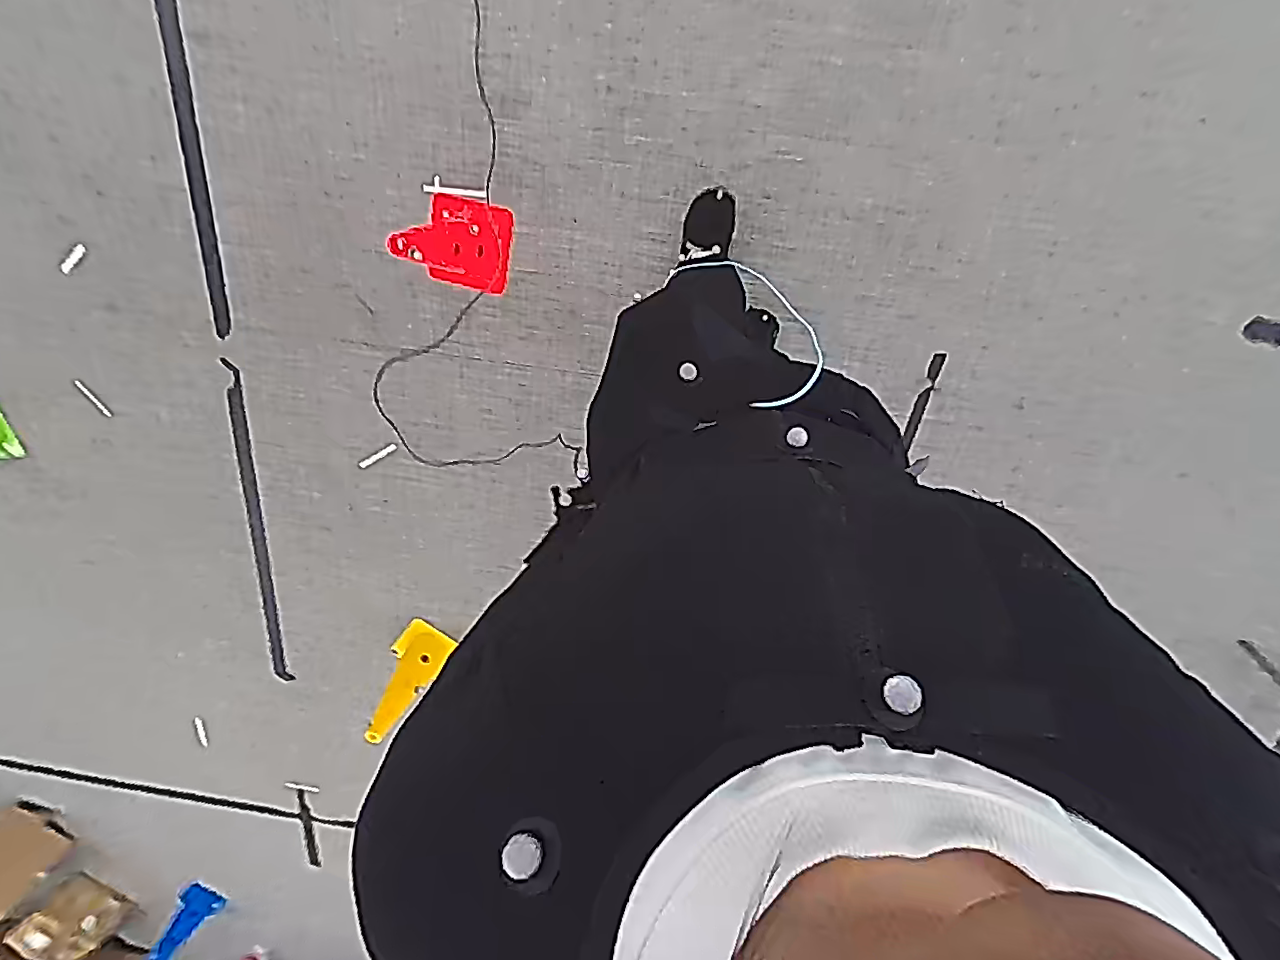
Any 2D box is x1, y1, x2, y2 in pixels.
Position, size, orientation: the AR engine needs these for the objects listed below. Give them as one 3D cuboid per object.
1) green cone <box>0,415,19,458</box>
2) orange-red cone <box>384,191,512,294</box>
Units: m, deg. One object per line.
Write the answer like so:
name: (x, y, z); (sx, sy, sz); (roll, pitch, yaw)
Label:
green cone: (-2.034, -0.097, 1.491); (0.200, 0.368, 0.202); (-6, 111, 8)
orange-red cone: (-0.430, -0.498, 1.146); (0.198, 0.360, 0.199); (16, 115, 0)
